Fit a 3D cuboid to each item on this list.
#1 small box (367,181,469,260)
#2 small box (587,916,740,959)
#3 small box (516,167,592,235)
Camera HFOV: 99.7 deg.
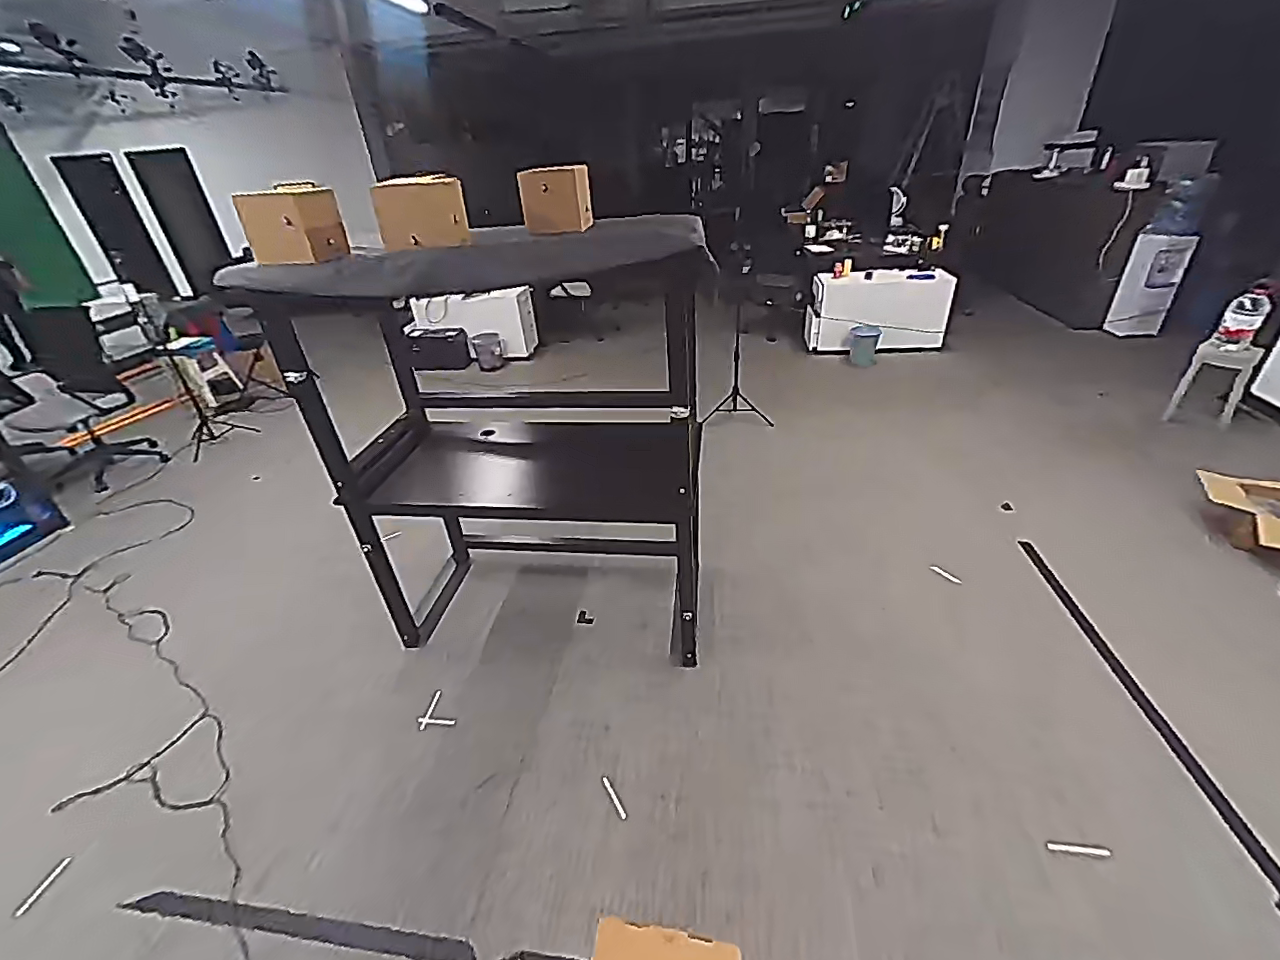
[{"bbox_3d":[-0.569,-0.683,1.420,0.179,0.176,0.168,1,31,7],"label":"small box"},{"bbox_3d":[0.013,0.616,0.576,0.168,0.176,0.179,7,33,5],"label":"small box"},{"bbox_3d":[-0.254,-0.849,1.647,0.179,0.176,0.168,0,33,8],"label":"small box"}]
